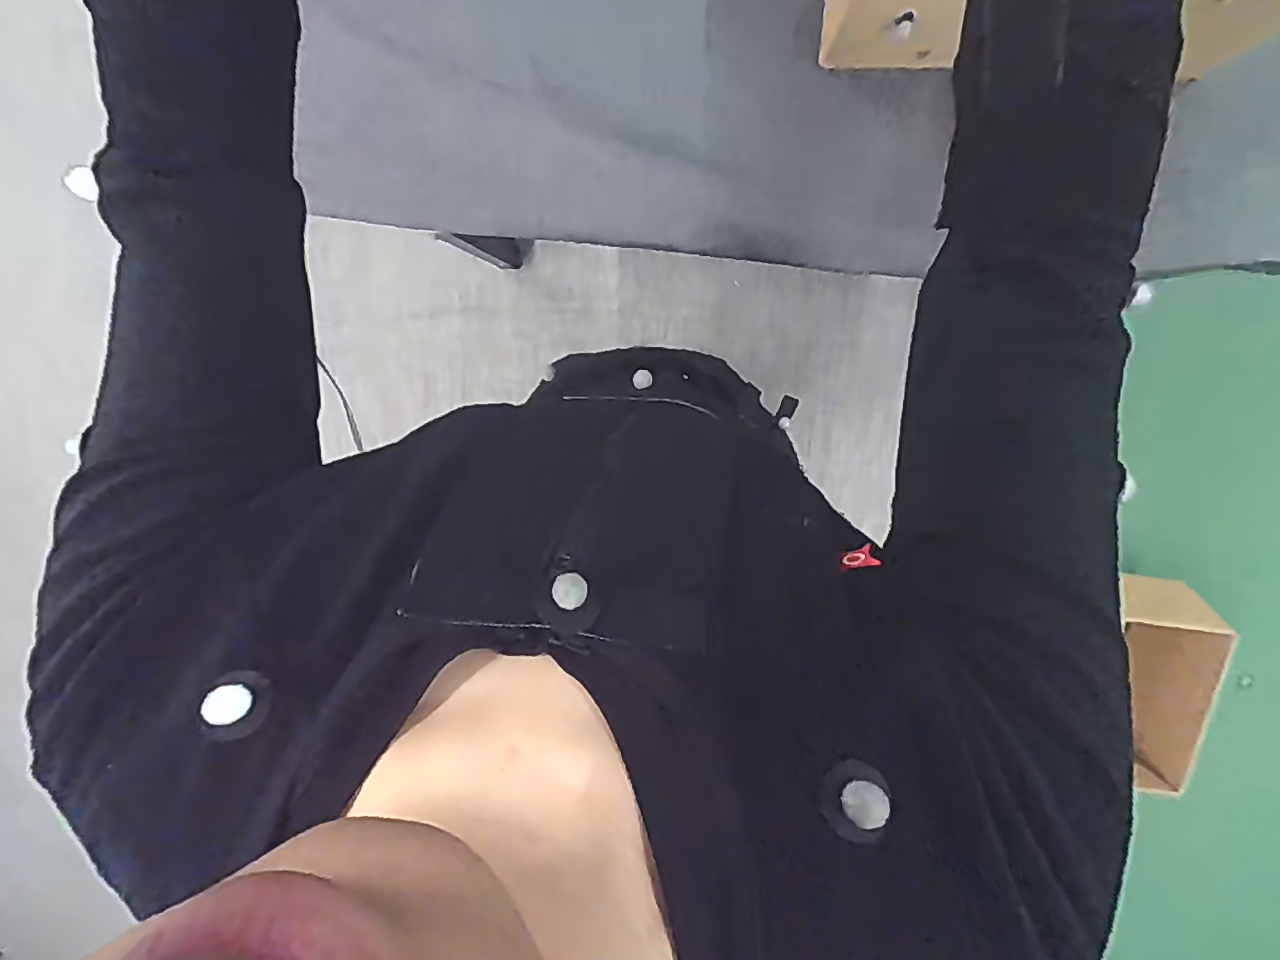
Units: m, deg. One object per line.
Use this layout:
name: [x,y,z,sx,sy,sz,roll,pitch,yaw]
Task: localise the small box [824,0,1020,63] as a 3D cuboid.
small box: [0.278,-0.525,0.504,0.168,0.176,0.179,3,102,4]
